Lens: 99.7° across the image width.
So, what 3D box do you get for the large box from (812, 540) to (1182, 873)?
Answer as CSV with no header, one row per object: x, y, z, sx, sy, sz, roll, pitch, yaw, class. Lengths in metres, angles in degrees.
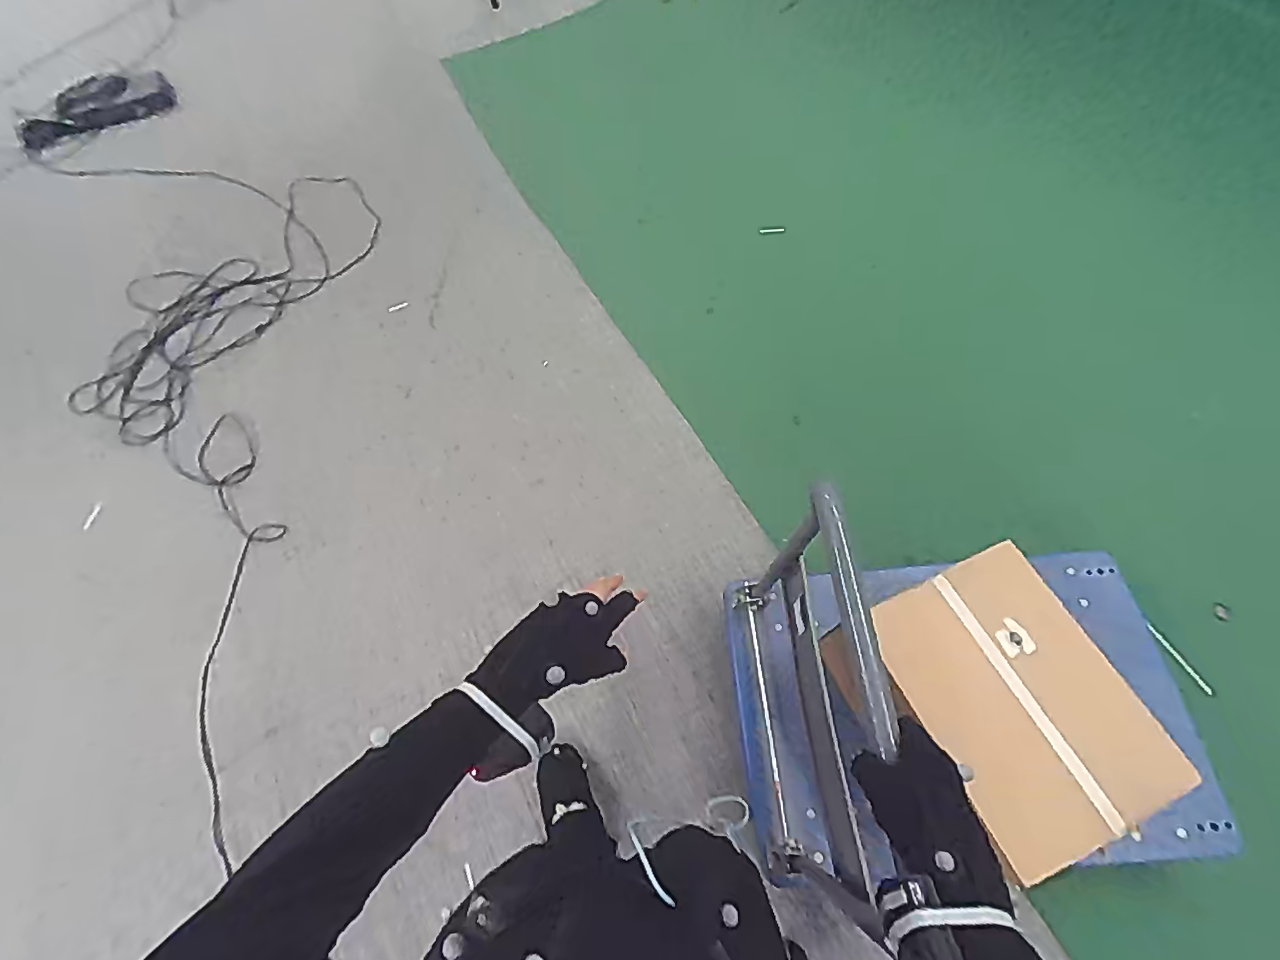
0.572,0.387,0.971,0.320,0.320,0.408,-23,65,-7,large box
